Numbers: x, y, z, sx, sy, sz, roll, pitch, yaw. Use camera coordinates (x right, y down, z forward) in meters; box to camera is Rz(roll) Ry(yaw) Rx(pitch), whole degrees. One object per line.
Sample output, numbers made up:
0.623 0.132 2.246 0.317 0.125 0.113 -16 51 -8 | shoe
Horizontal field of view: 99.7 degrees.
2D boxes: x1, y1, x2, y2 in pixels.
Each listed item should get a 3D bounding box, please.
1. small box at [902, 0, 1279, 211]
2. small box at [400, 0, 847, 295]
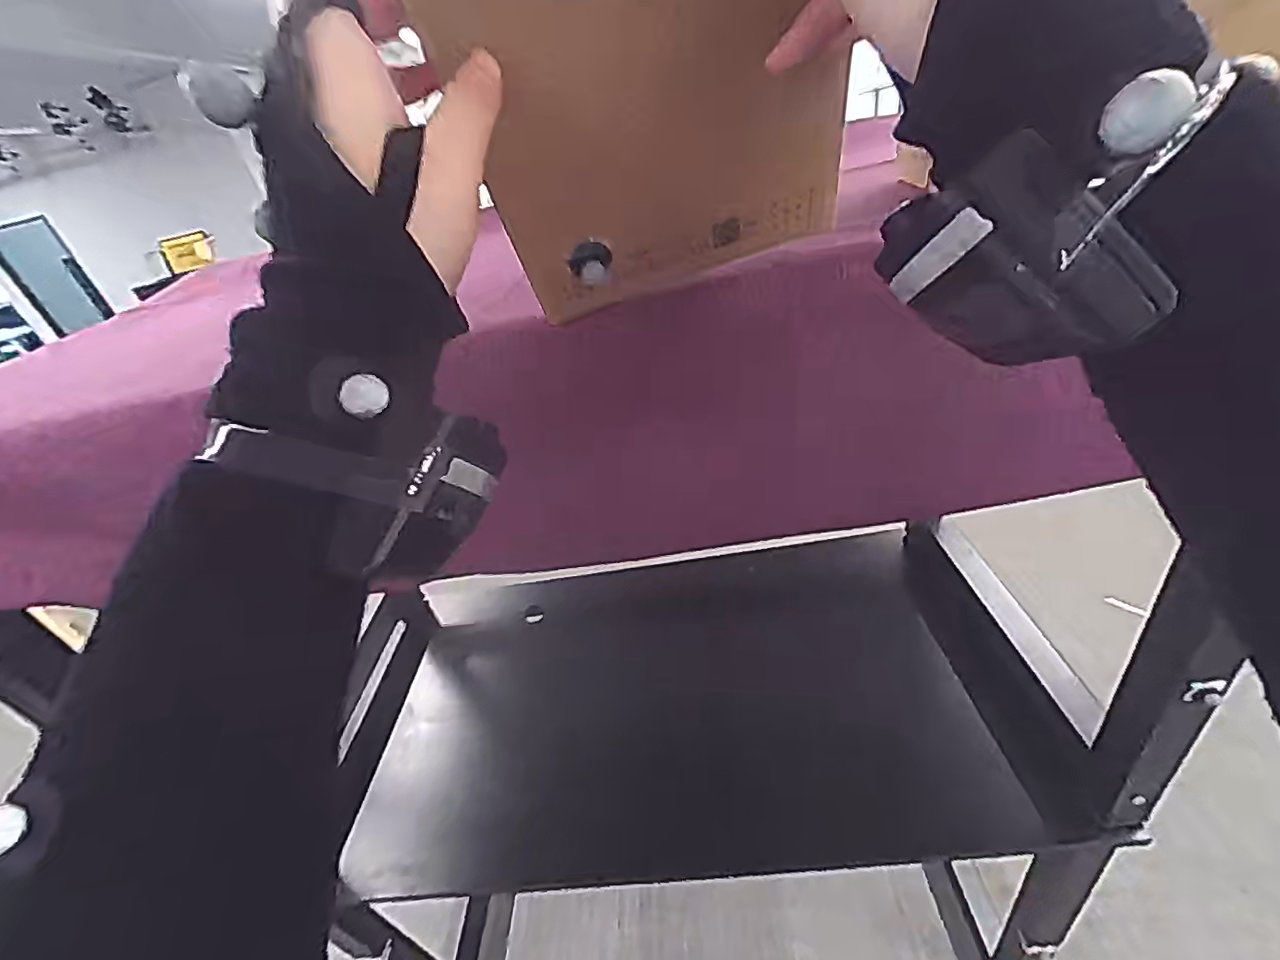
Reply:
0.265 -0.271 0.308 0.179 0.176 0.168 -7 32 12 | small box
-0.008 -0.218 0.270 0.168 0.176 0.179 -18 56 2 | small box
